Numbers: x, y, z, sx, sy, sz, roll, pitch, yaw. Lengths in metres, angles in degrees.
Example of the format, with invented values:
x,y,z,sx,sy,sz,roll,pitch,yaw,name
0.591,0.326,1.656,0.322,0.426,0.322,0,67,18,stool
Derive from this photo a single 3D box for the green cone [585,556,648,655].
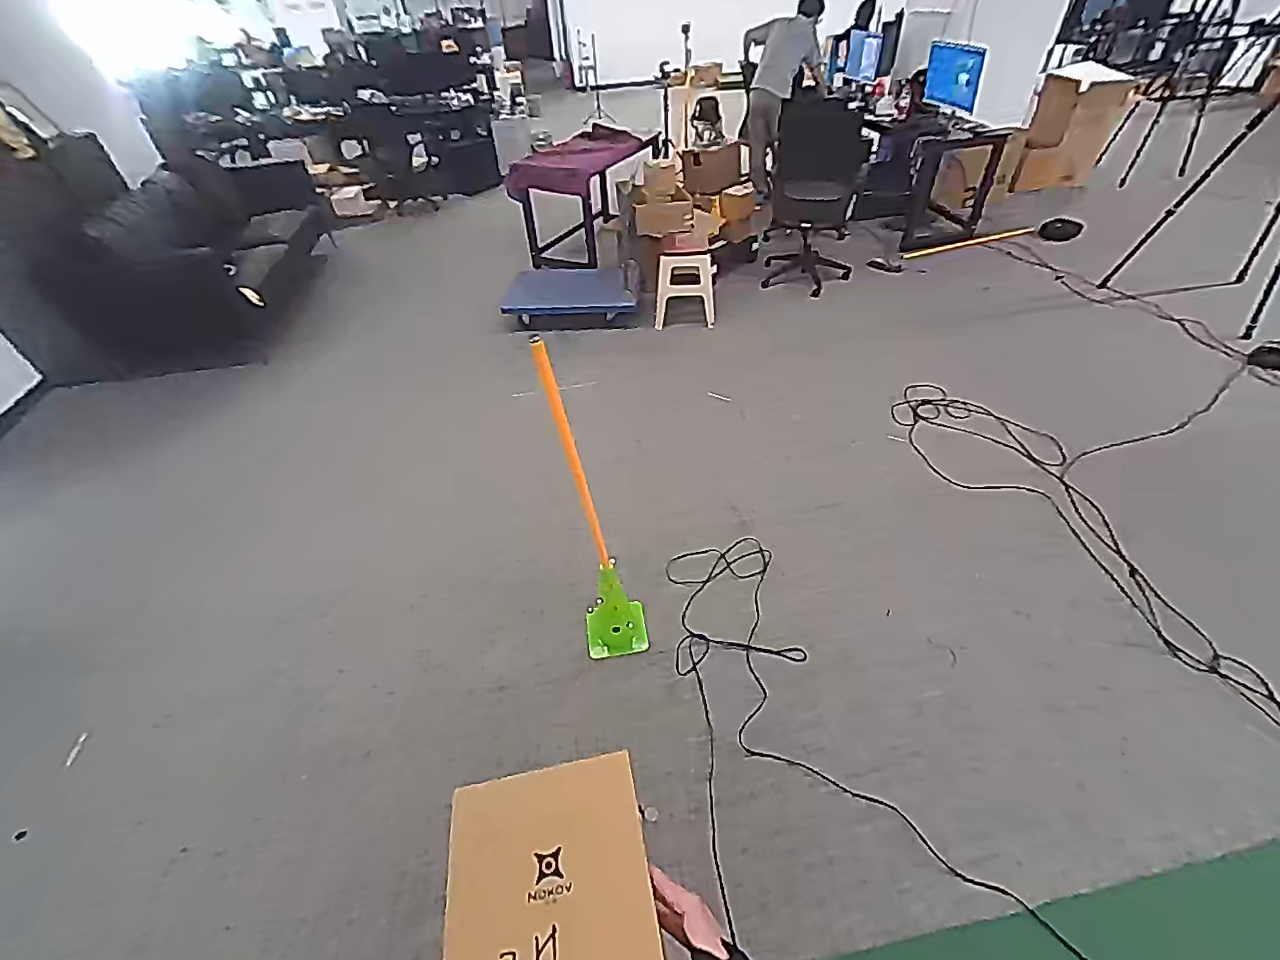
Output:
x,y,z,sx,sy,sz,roll,pitch,yaw,name
-0.089,0.375,1.732,0.202,0.368,0.200,-8,43,-5,green cone
